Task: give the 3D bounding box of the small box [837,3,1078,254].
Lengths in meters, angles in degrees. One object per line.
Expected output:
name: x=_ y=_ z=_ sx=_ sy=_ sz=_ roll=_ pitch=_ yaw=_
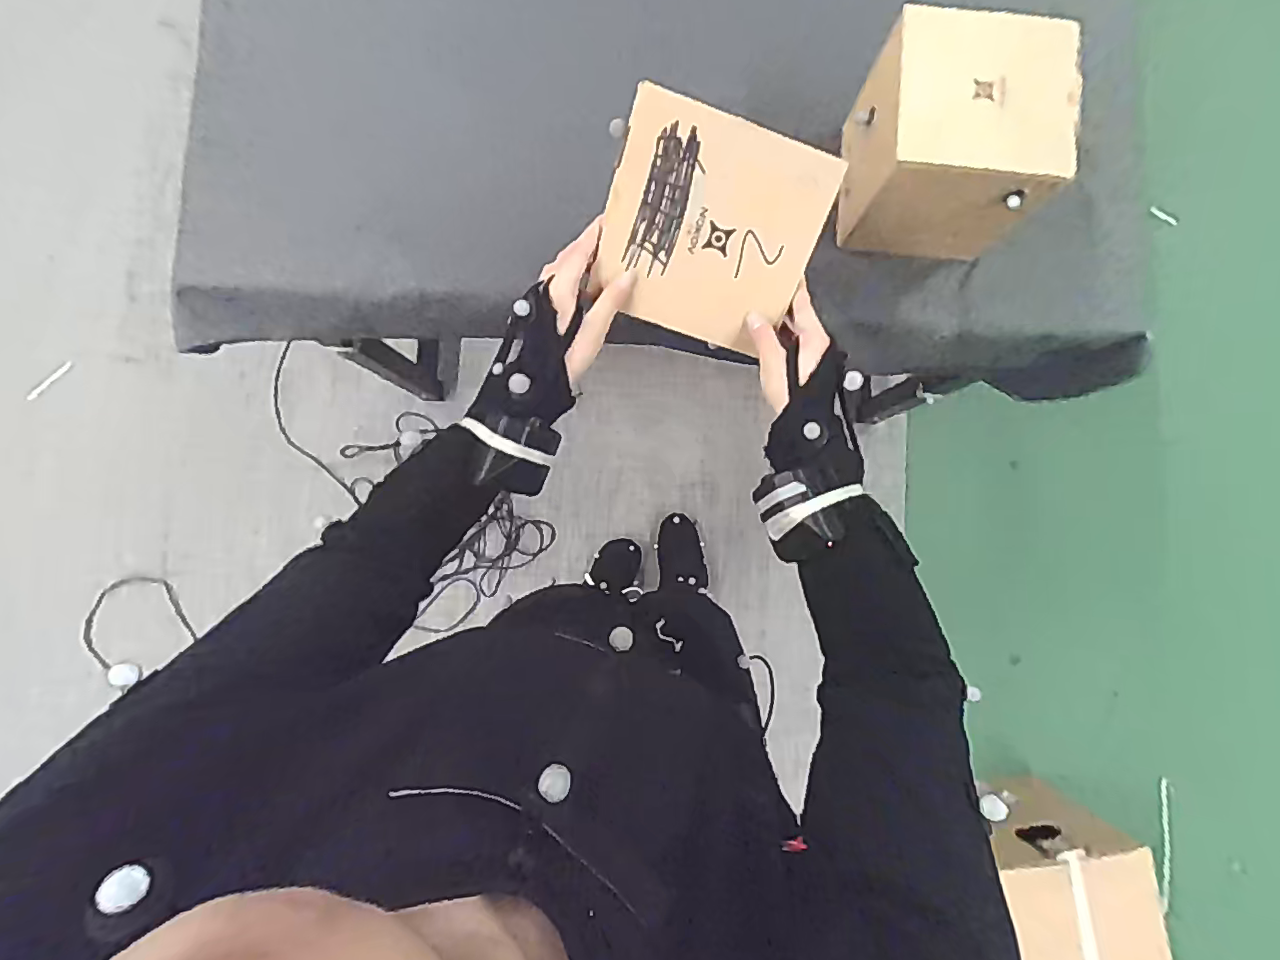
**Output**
small box: x=0.334 y=-0.372 z=0.602 sx=0.179 sy=0.176 sz=0.168 roll=5 pitch=86 yaw=0
